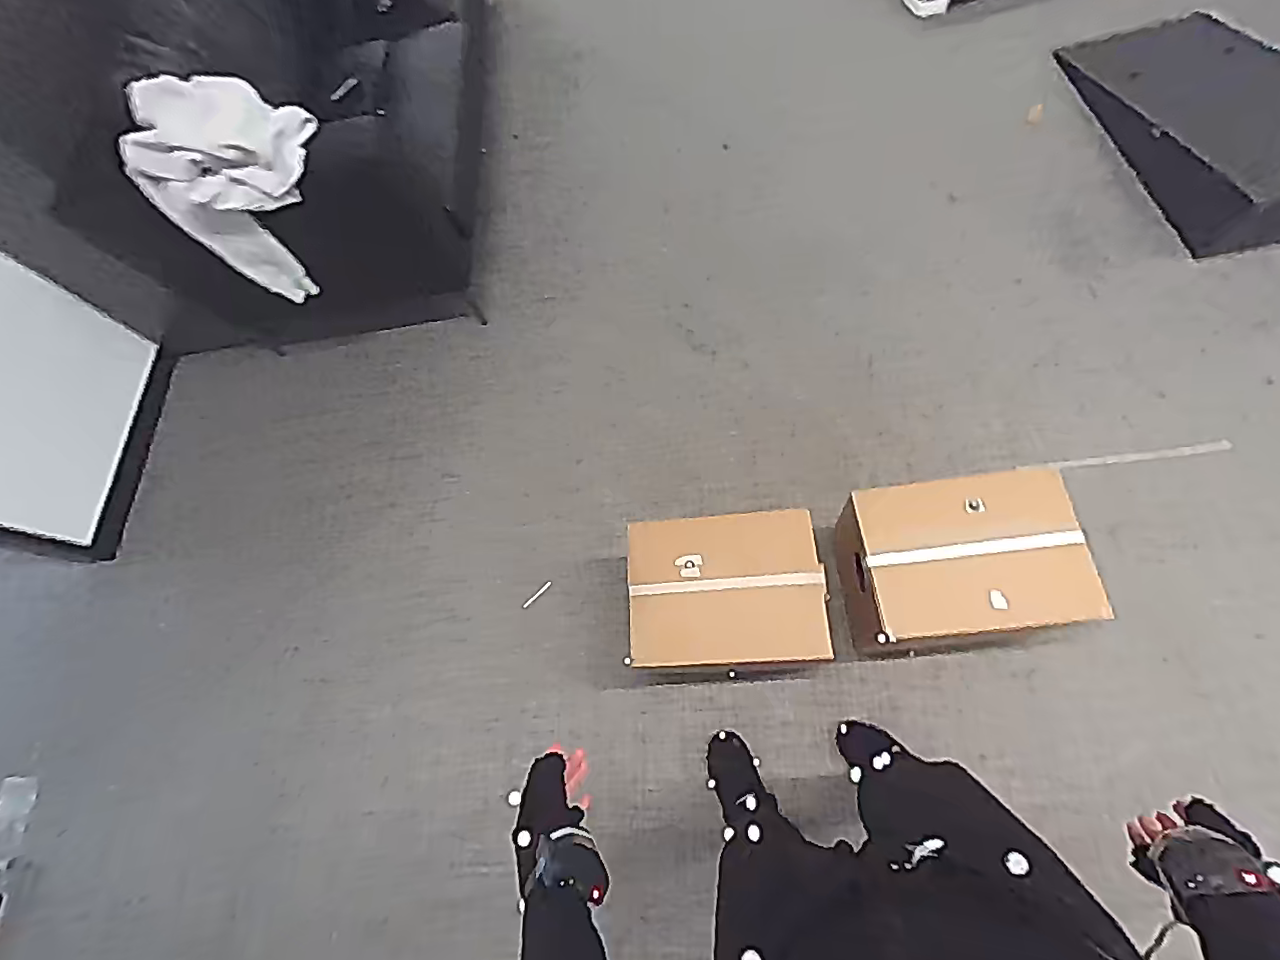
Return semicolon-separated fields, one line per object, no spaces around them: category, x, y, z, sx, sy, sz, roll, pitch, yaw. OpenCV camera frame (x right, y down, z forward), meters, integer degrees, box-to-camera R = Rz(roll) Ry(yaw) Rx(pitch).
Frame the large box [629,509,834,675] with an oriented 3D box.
large box;0.205;0.279;1.262;0.408;0.320;0.320;-6;66;10
